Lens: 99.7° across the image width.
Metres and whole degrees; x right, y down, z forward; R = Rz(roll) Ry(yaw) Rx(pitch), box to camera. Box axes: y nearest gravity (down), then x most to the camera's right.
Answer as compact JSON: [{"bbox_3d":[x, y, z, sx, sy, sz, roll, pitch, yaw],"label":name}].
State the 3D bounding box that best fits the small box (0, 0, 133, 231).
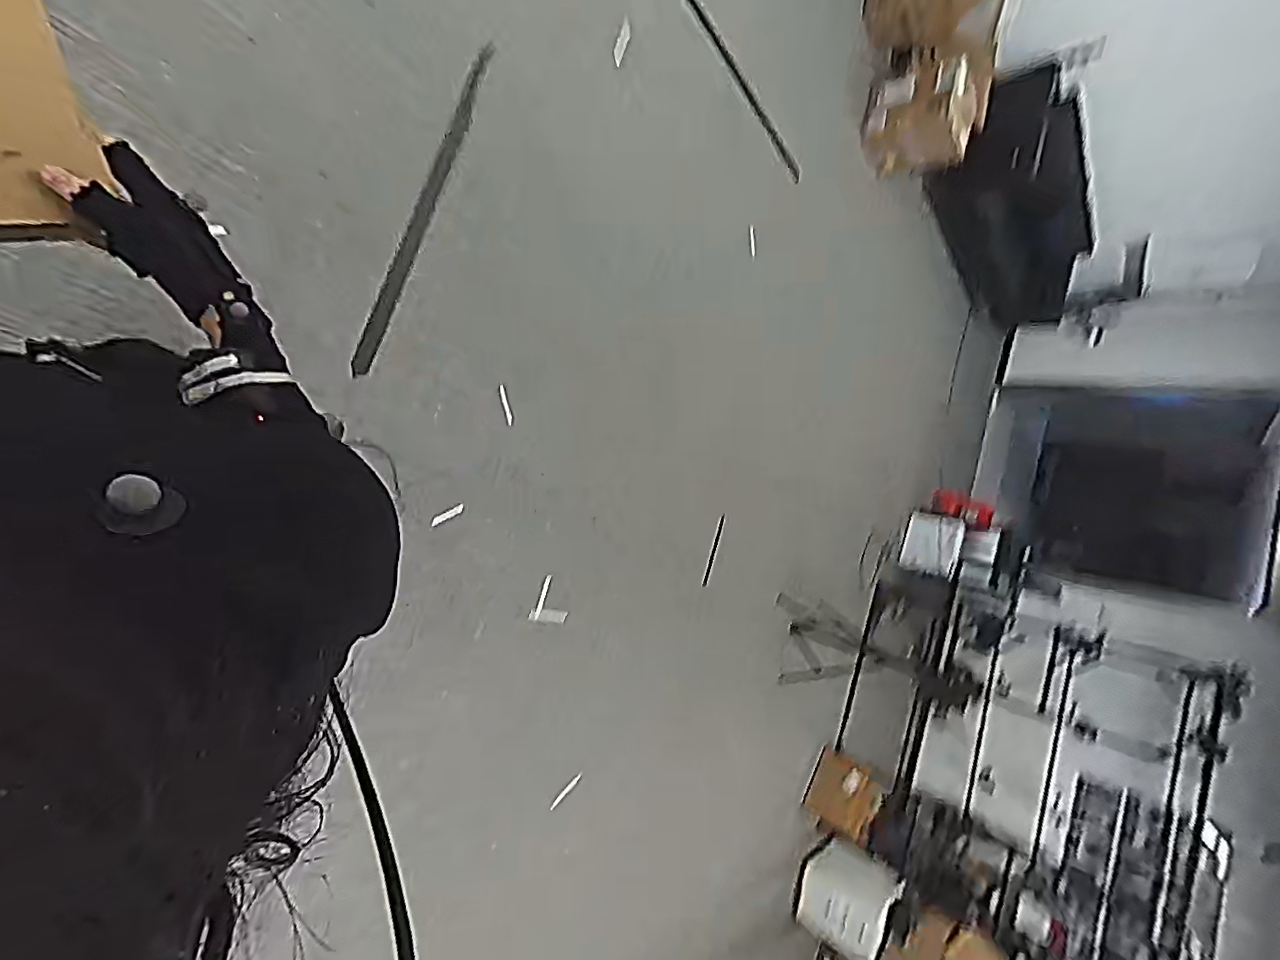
[{"bbox_3d":[-0.509,-0.277,0.376,0.168,0.176,0.179,-28,123,-44],"label":"small box"}]
